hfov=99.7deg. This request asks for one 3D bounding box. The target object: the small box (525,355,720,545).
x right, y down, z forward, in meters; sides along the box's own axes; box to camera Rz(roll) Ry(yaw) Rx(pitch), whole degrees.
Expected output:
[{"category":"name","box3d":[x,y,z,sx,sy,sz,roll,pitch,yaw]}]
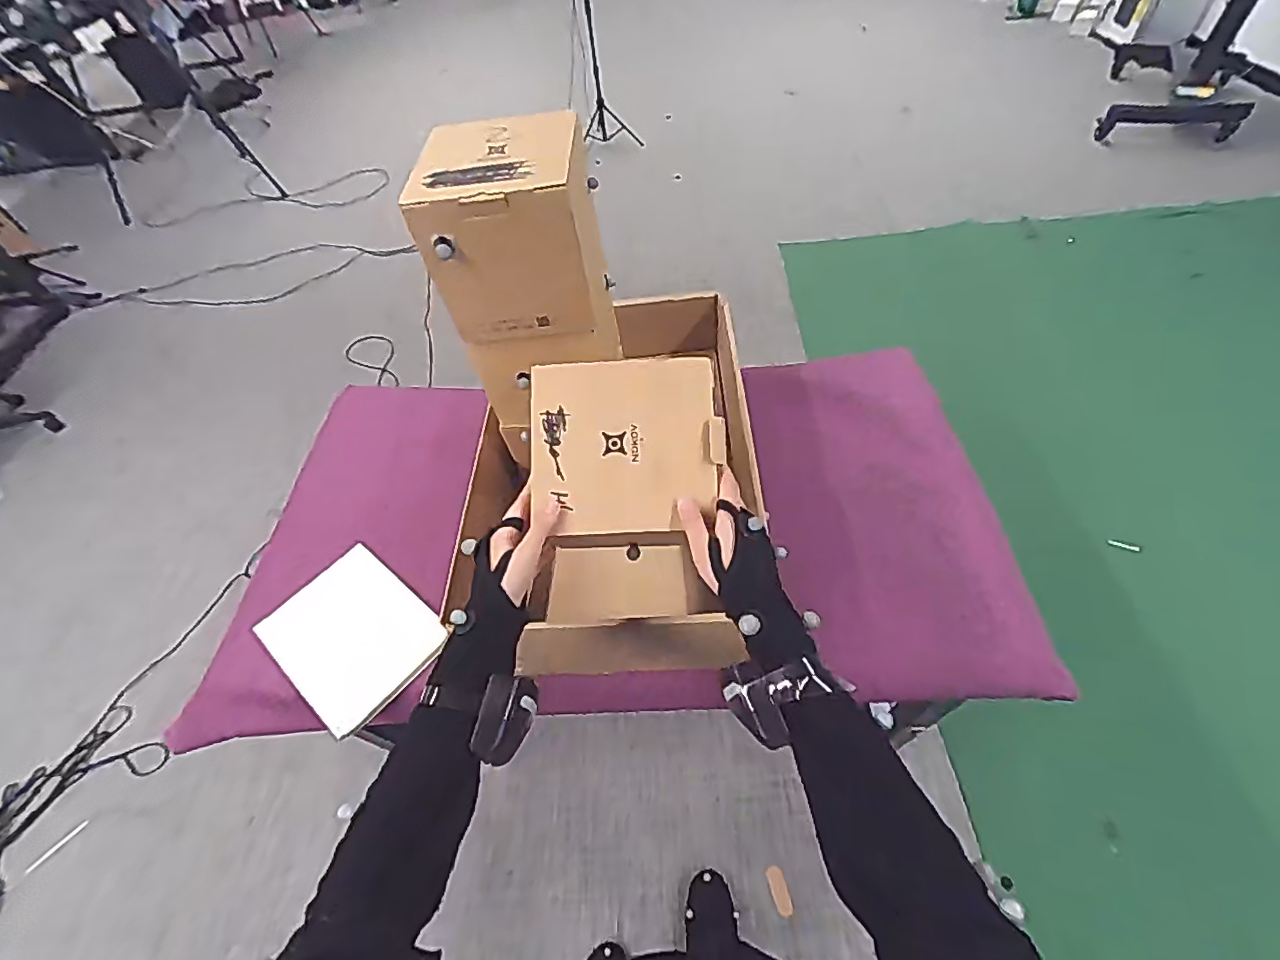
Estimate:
[{"category":"small box","box3d":[-0.017,-0.021,0.571,0.179,0.176,0.168,-2,78,0]}]

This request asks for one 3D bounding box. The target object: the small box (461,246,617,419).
[{"category":"small box","box3d":[-0.127,-0.197,0.759,0.168,0.176,0.179,-2,54,5]}]
